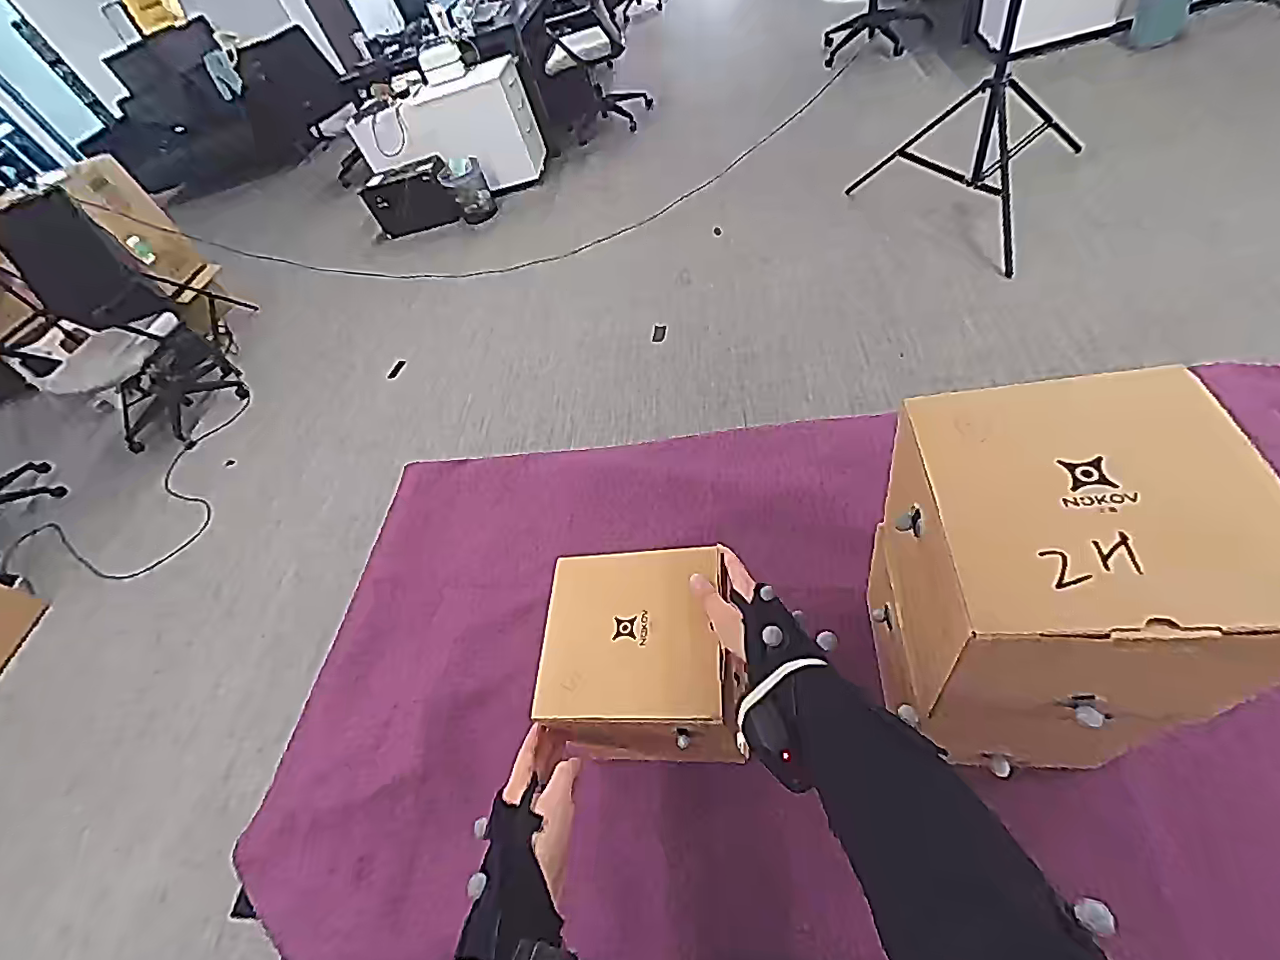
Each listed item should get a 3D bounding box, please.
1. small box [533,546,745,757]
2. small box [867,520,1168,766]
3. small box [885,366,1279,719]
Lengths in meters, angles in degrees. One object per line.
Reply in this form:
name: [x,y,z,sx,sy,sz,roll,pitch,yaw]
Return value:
small box: [0.011,0.188,0.575,0.179,0.176,0.168,-6,51,13]
small box: [0.314,0.149,0.503,0.168,0.176,0.179,-6,52,15]
small box: [0.277,0.050,0.376,0.168,0.176,0.179,-6,52,15]
